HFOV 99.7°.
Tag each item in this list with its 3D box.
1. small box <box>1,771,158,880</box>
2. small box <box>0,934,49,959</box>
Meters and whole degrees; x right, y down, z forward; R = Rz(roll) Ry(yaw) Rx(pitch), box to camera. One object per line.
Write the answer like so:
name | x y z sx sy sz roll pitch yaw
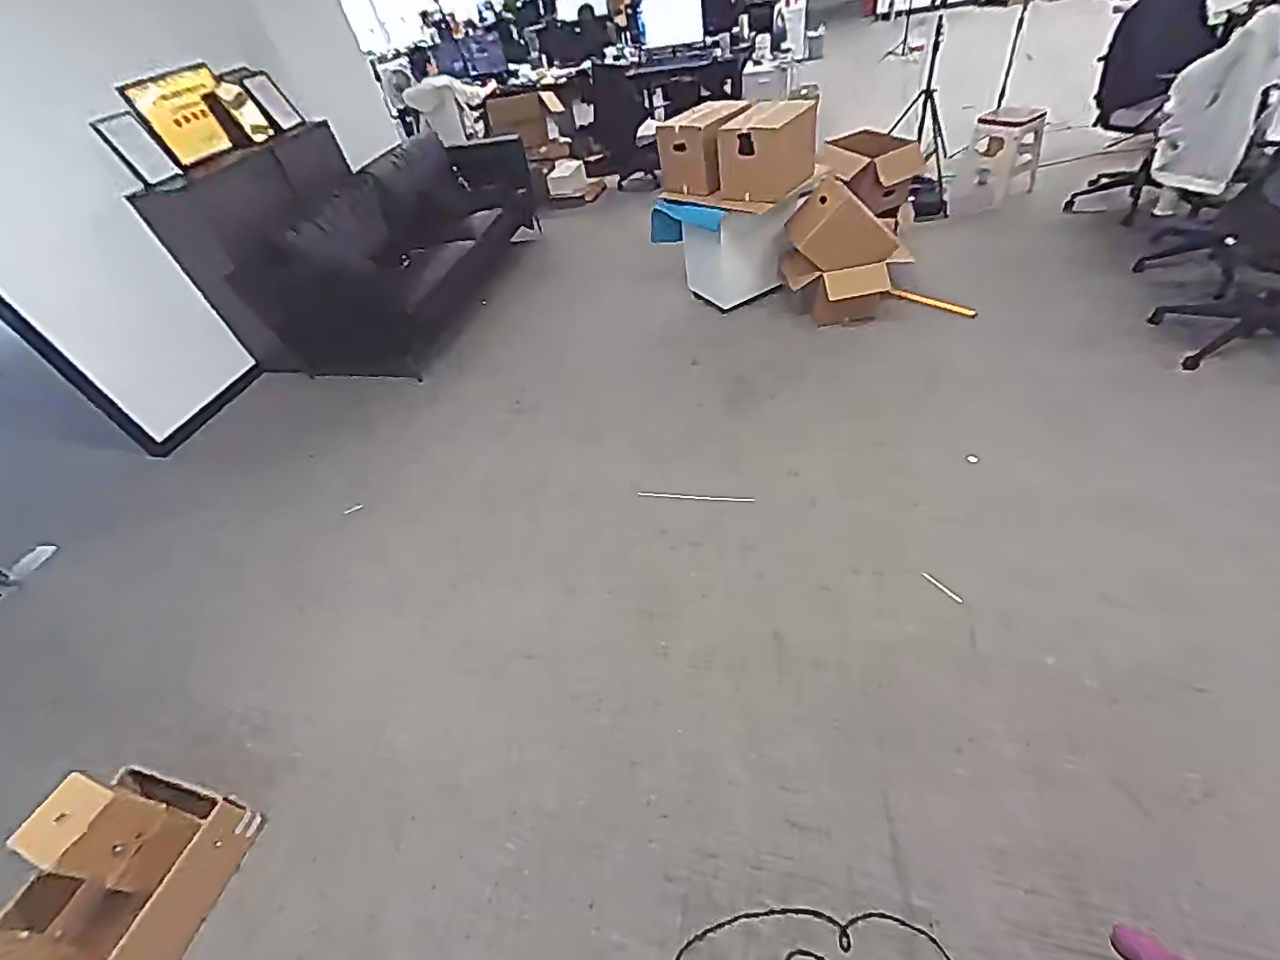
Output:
small box | -1.372 0.856 1.335 0.179 0.176 0.168 9 48 19
small box | -1.441 1.071 1.136 0.179 0.176 0.168 3 47 16
